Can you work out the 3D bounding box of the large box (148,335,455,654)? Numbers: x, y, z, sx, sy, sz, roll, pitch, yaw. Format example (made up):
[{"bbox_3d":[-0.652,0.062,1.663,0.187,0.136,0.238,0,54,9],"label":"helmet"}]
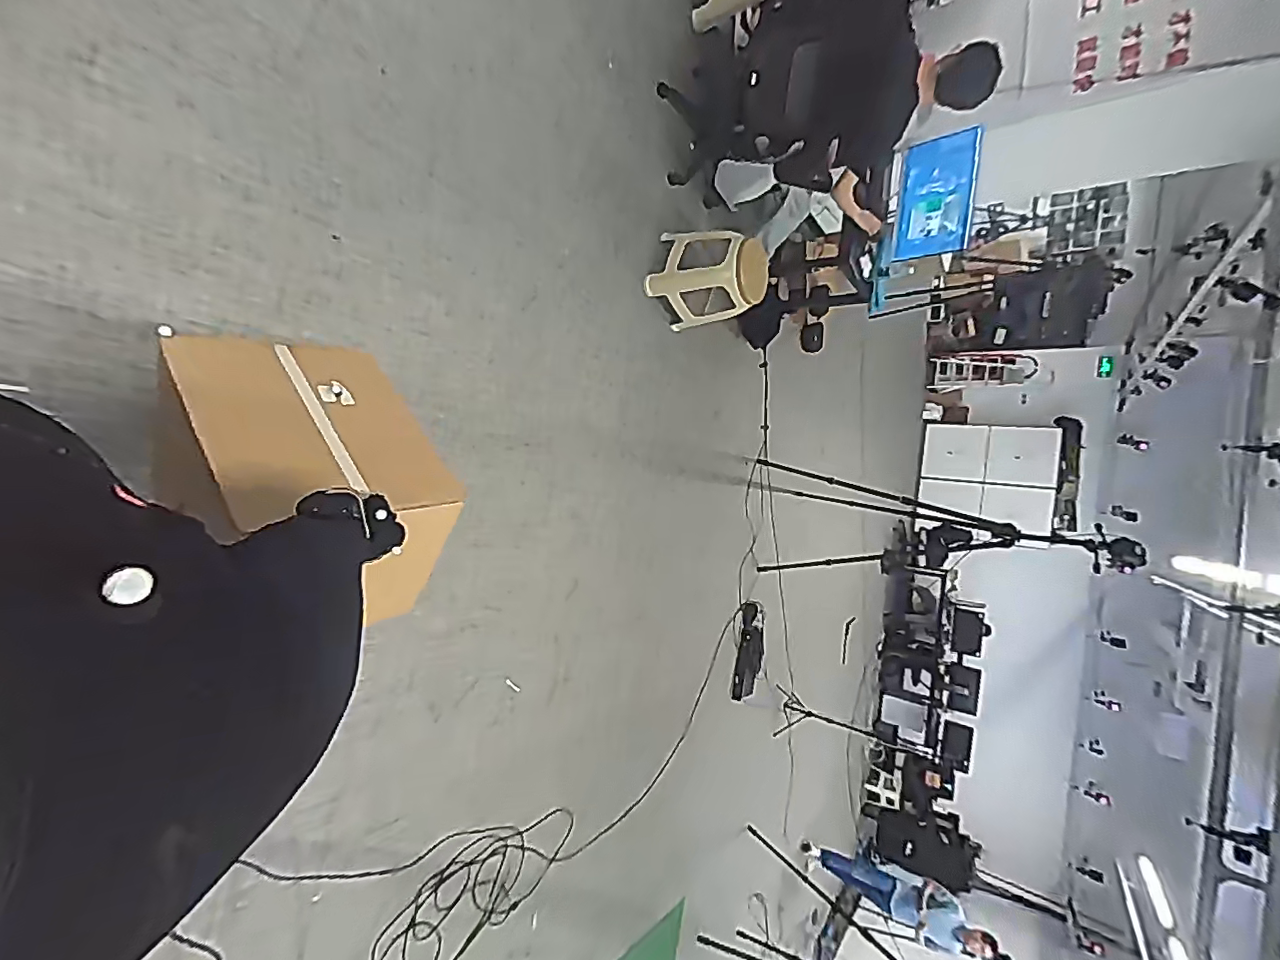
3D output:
[{"bbox_3d":[-0.590,0.009,0.928,0.320,0.408,0.320,-8,141,-52],"label":"large box"}]
